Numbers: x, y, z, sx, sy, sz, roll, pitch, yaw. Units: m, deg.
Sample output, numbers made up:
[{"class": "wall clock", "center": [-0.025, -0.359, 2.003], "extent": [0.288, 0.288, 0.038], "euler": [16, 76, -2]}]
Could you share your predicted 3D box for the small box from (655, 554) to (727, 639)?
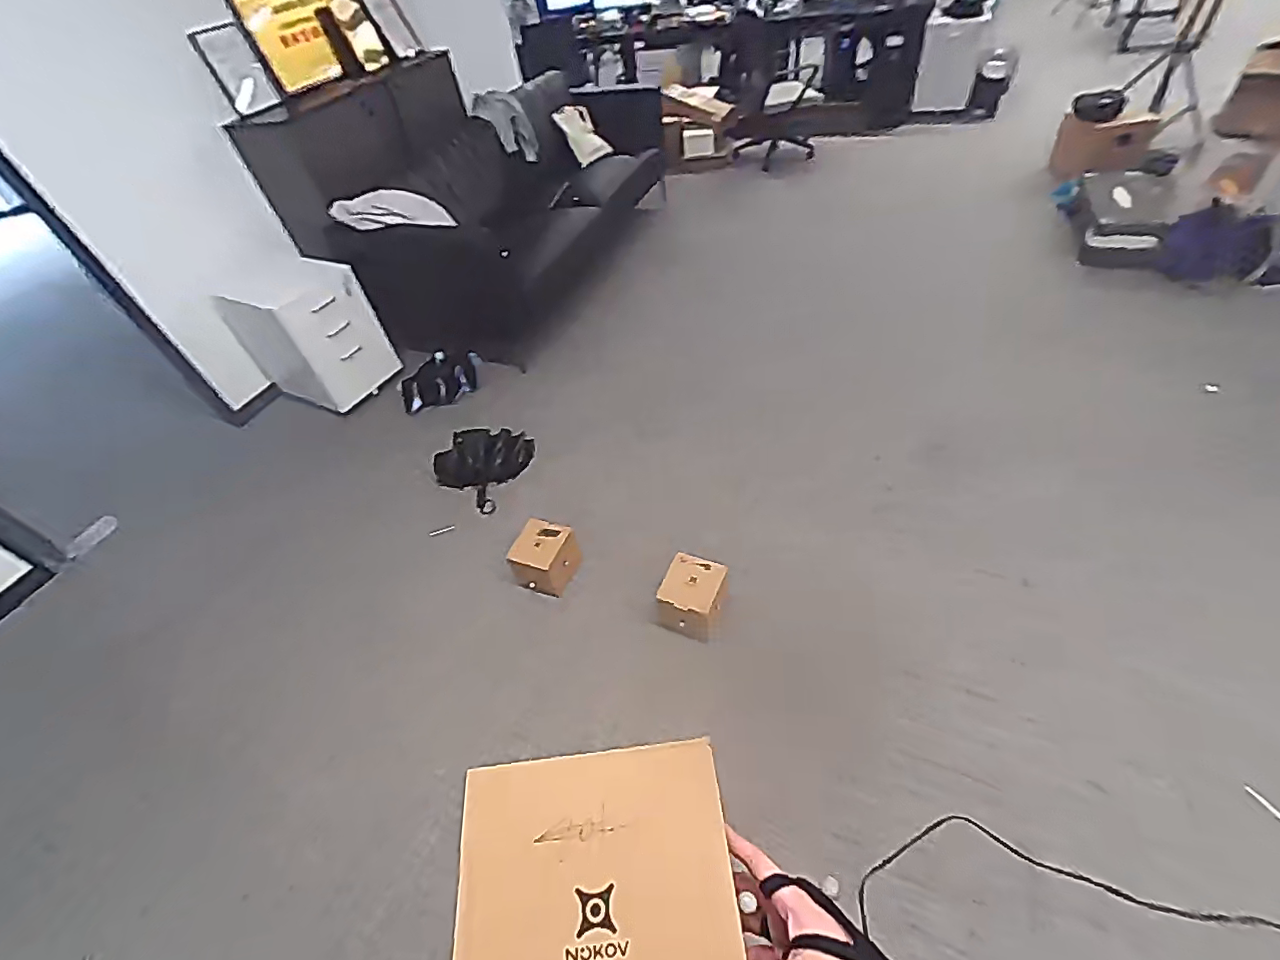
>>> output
[{"class": "small box", "center": [0.164, 0.361, 1.666], "extent": [0.168, 0.176, 0.179], "euler": [14, 52, 23]}]

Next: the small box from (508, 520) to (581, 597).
[{"class": "small box", "center": [-0.317, 0.268, 1.849], "extent": [0.168, 0.176, 0.179], "euler": [12, 52, 22]}]
